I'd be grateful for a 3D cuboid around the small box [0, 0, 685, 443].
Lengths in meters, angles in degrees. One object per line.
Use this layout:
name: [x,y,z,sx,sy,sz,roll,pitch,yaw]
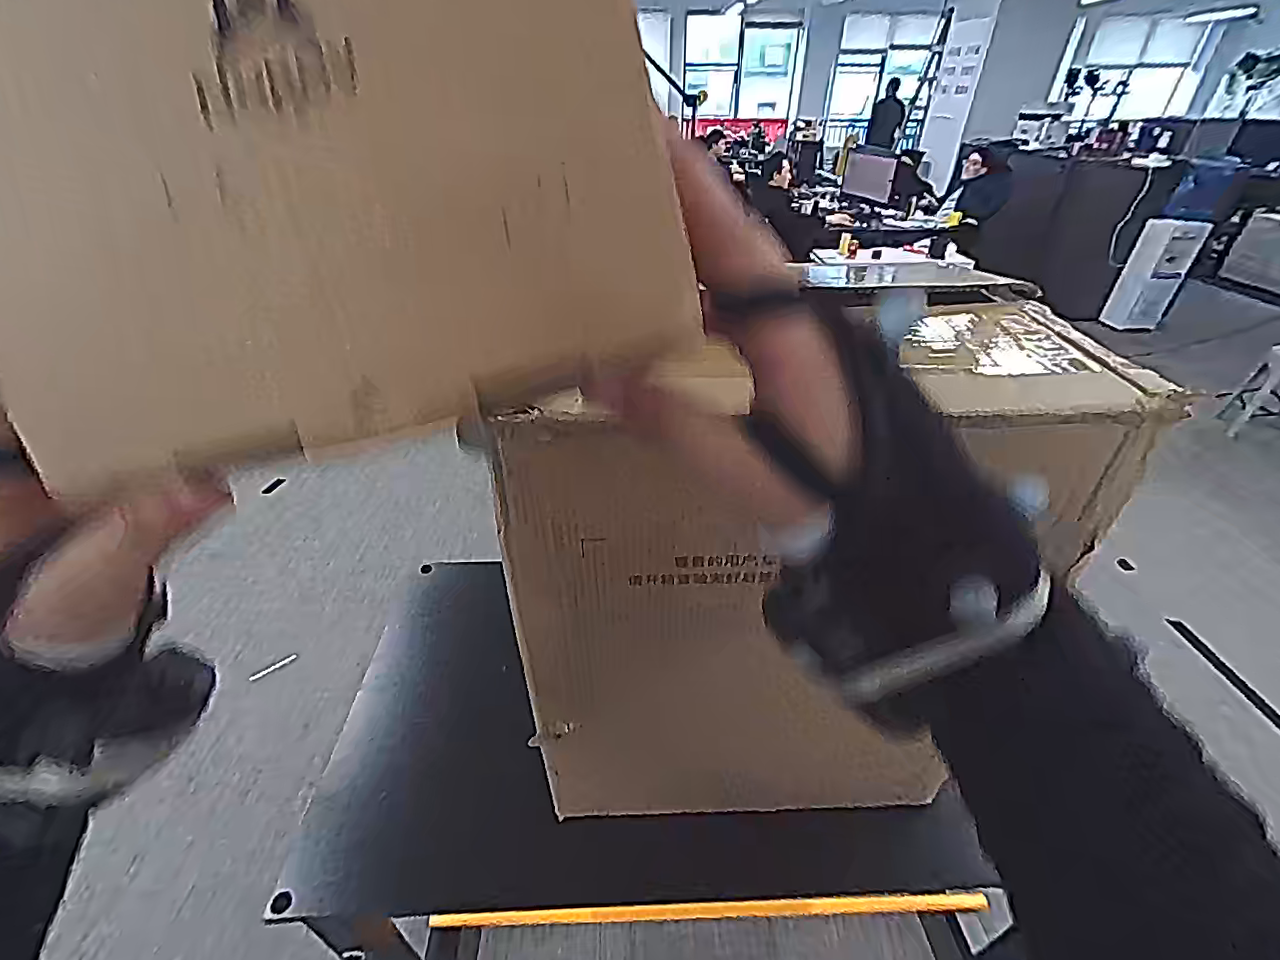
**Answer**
small box: [-0.089,-0.122,0.210,0.168,0.179,0.176,-14,8,-3]
